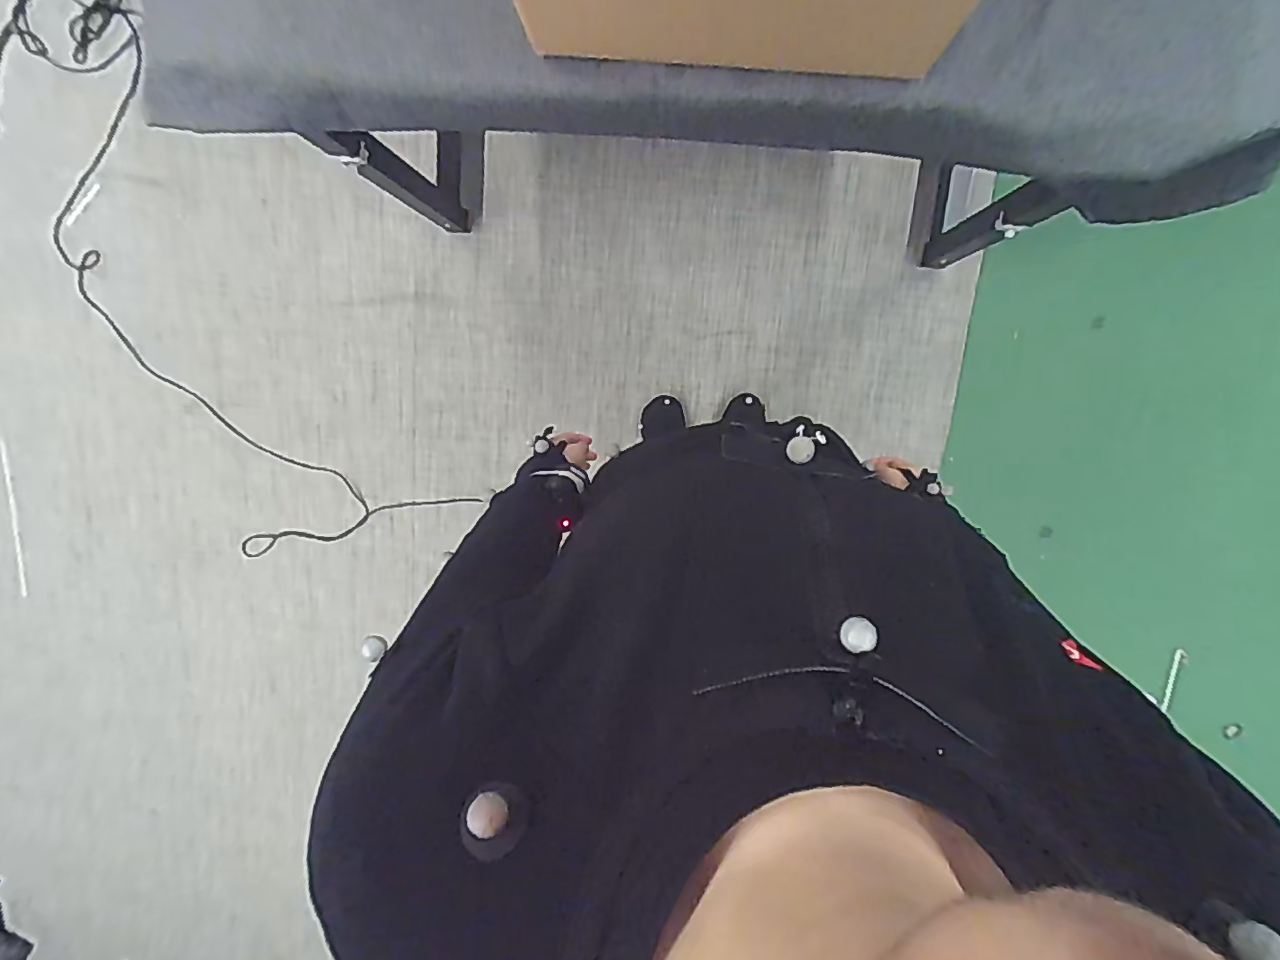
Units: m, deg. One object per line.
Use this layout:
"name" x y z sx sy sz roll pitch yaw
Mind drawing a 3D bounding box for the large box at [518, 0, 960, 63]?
"large box" 0.087 -0.564 0.390 0.408 0.320 0.320 5 99 3
